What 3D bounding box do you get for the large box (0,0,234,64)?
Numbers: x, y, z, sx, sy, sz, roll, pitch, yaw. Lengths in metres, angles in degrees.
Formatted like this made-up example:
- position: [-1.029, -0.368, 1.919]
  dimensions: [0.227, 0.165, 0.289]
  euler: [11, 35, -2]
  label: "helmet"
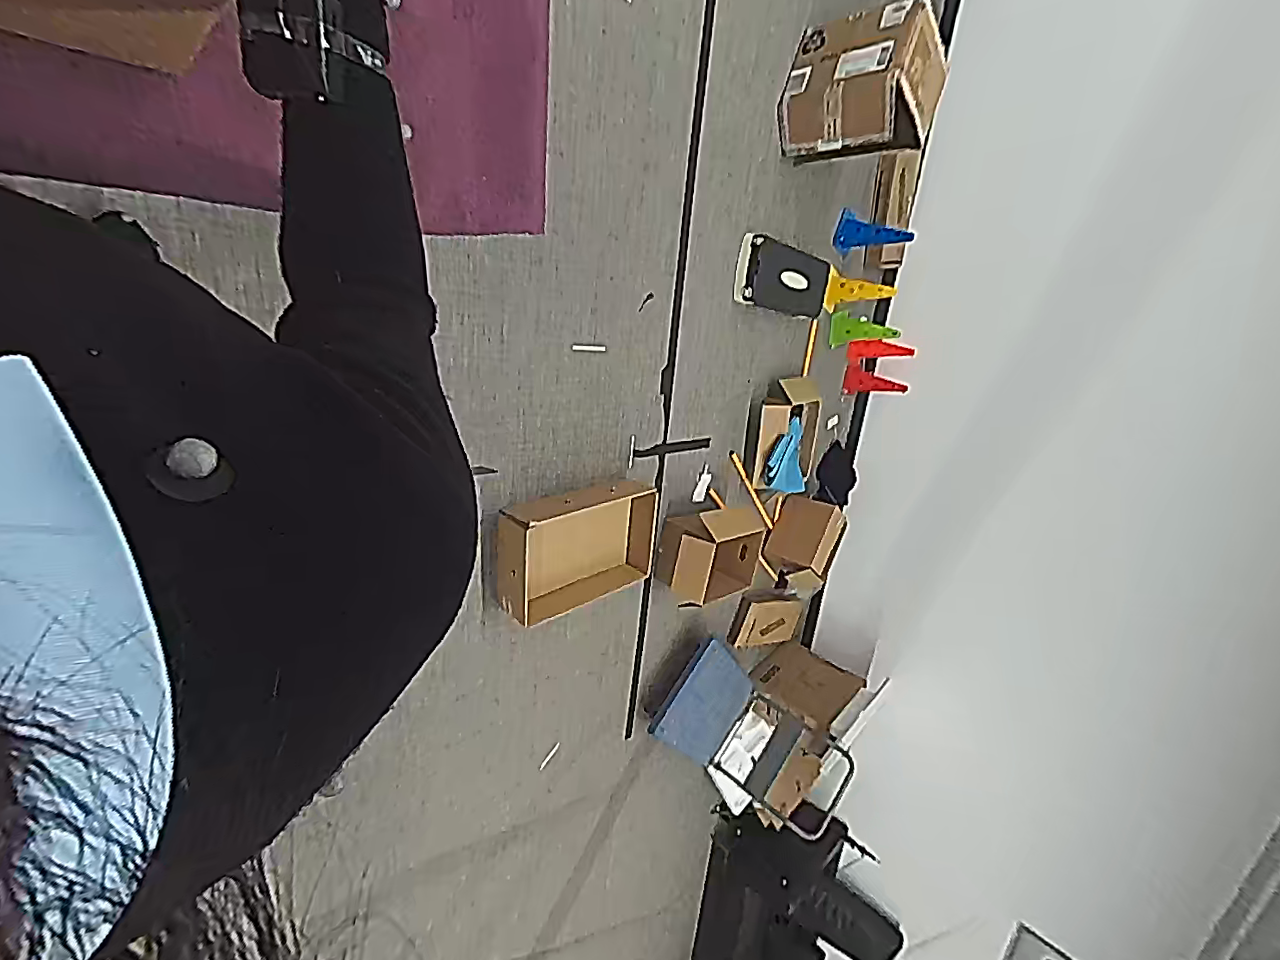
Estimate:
- position: [-0.474, -0.466, 0.253]
  dimensions: [0.408, 0.320, 0.320]
  euler: [-14, 115, -43]
  label: "large box"
